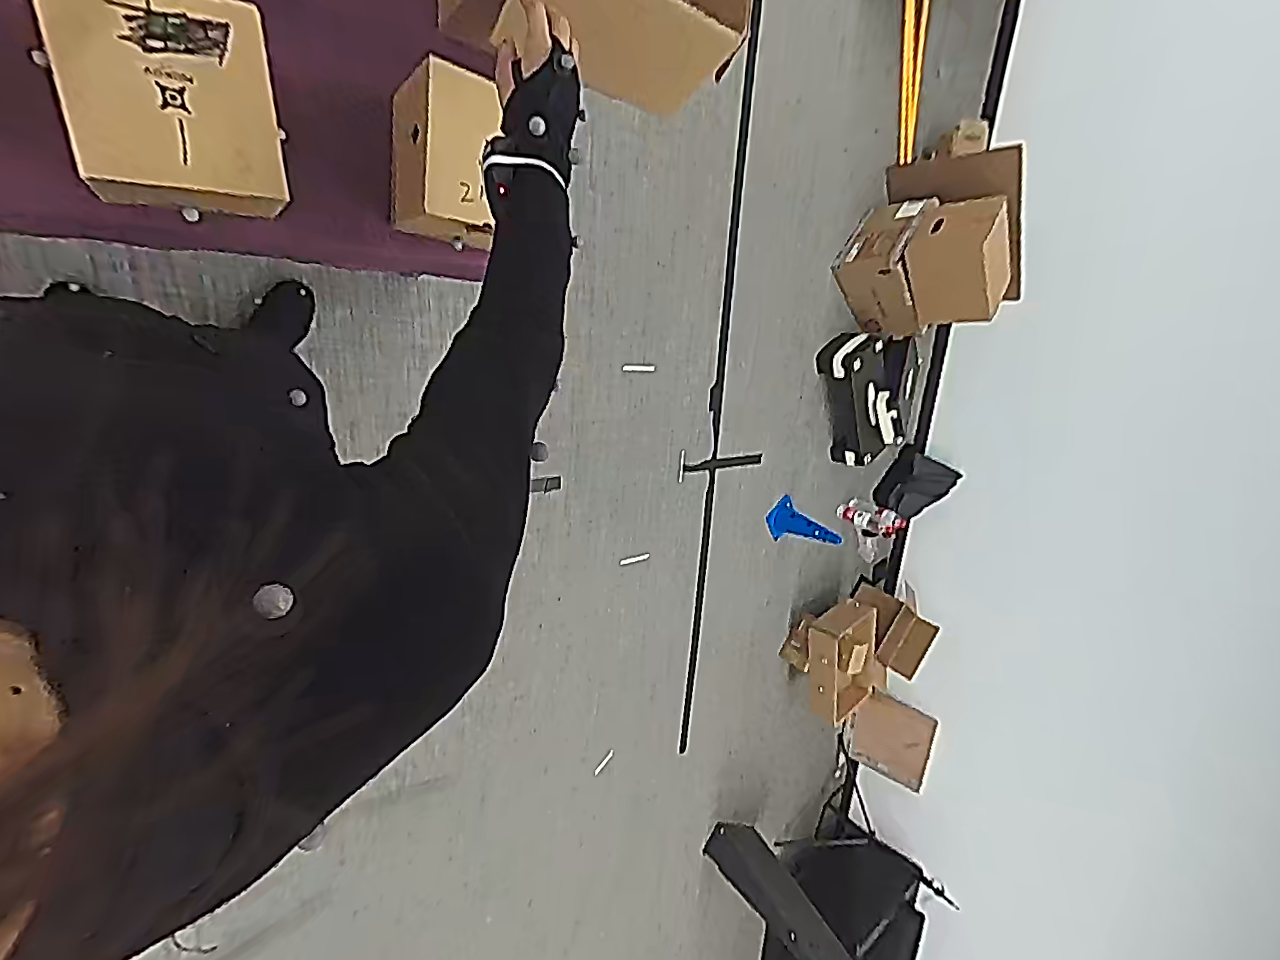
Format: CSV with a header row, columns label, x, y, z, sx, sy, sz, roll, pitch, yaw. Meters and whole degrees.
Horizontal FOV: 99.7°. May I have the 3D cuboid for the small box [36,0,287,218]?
label,x,y,z,sx,sy,sz,roll,pitch,yaw
small box,-0.492,-0.390,0.571,0.168,0.176,0.179,-12,113,-36

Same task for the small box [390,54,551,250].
label,x,y,z,sx,sy,sz,roll,pitch,yaw
small box,-0.243,-0.437,0.758,0.168,0.176,0.179,-2,106,-38
